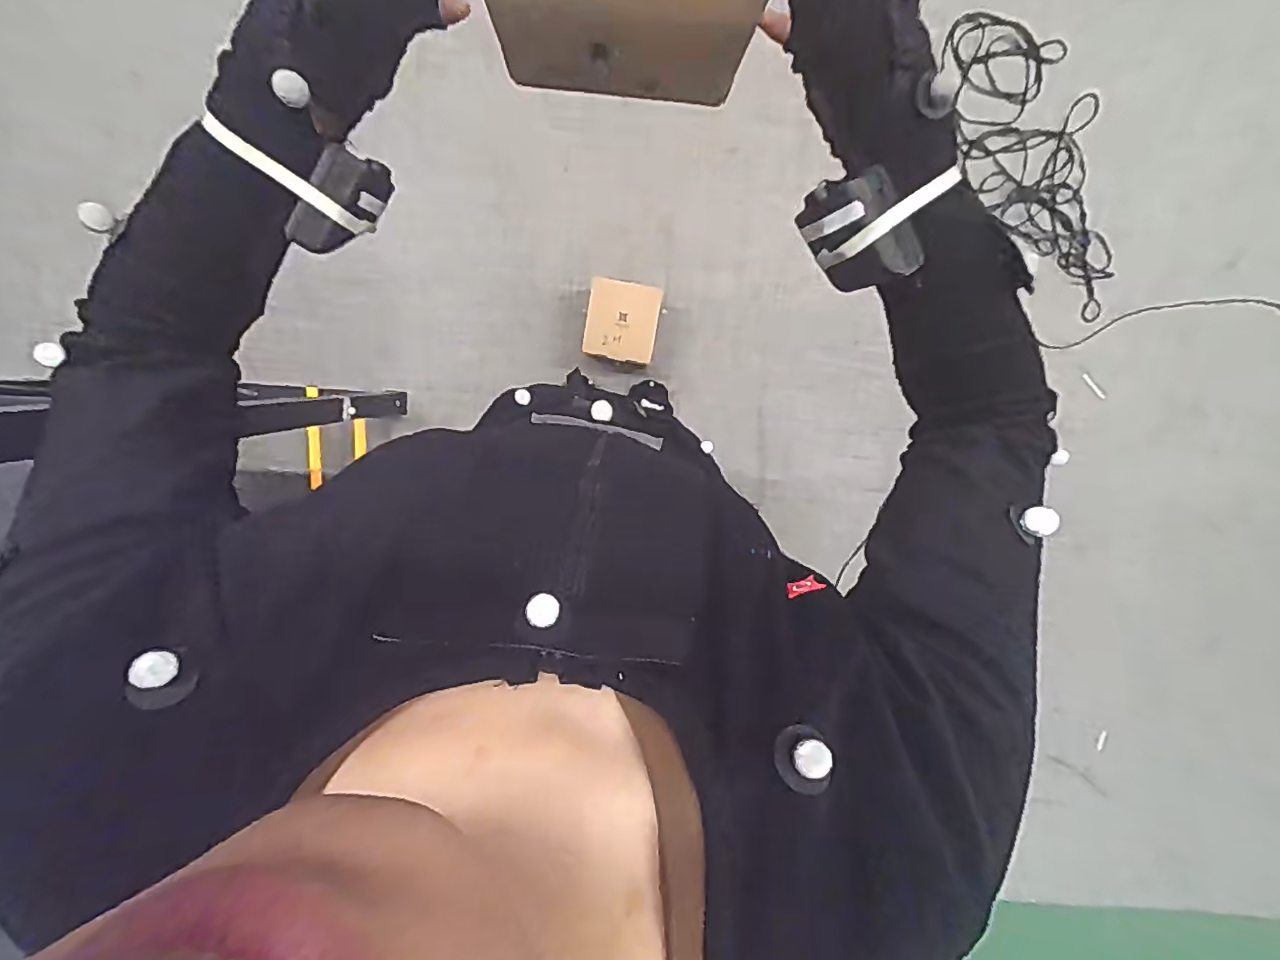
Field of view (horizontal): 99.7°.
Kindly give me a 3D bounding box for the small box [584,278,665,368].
[{"bbox_3d":[-0.039,-0.381,1.338,0.168,0.176,0.179,10,100,-2],"label":"small box"}]
